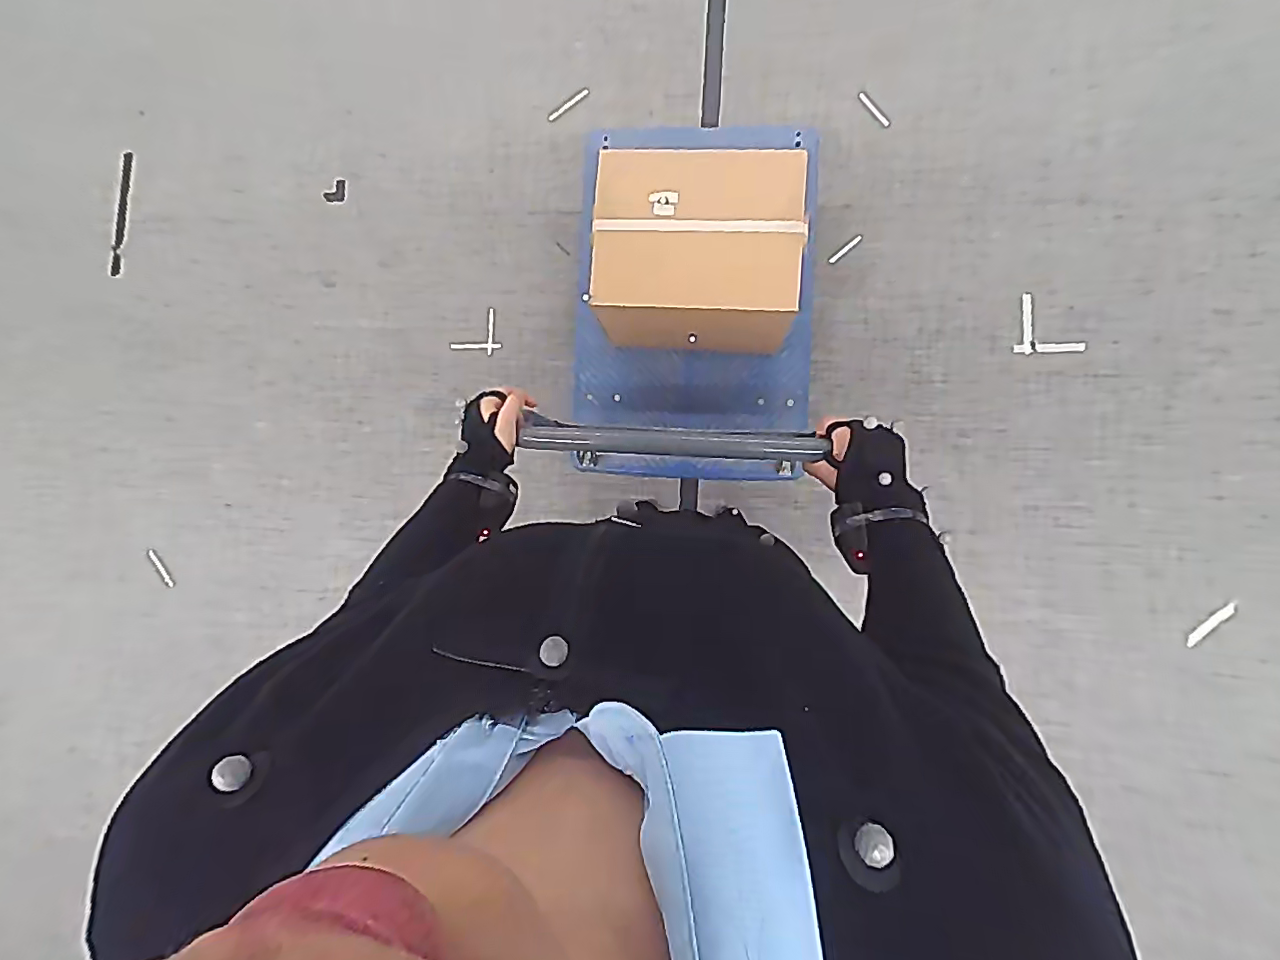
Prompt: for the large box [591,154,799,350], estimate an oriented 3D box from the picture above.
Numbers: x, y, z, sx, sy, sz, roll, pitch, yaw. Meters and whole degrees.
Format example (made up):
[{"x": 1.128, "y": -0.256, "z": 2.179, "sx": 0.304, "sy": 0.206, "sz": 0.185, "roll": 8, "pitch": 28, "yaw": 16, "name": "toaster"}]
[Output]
[{"x": 0.126, "y": -0.482, "z": 1.211, "sx": 0.408, "sy": 0.320, "sz": 0.320, "roll": 3, "pitch": 87, "yaw": 7, "name": "large box"}]
